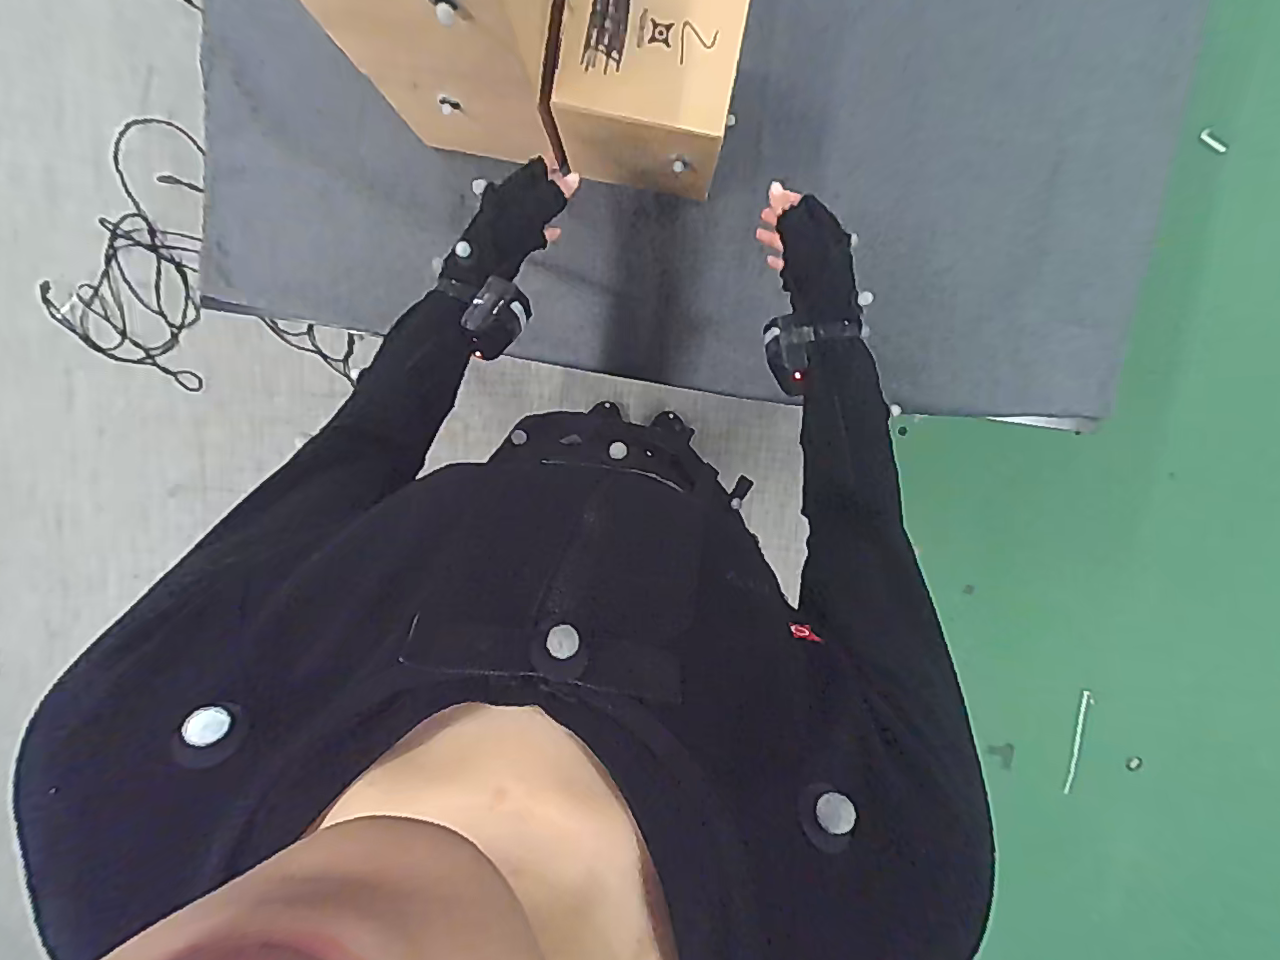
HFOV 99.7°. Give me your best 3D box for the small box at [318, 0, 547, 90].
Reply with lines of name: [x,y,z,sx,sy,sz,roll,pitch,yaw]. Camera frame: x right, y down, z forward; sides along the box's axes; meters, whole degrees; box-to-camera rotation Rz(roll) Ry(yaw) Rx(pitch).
small box: [-0.168,-0.457,0.439,0.179,0.176,0.168,8,97,-1]
